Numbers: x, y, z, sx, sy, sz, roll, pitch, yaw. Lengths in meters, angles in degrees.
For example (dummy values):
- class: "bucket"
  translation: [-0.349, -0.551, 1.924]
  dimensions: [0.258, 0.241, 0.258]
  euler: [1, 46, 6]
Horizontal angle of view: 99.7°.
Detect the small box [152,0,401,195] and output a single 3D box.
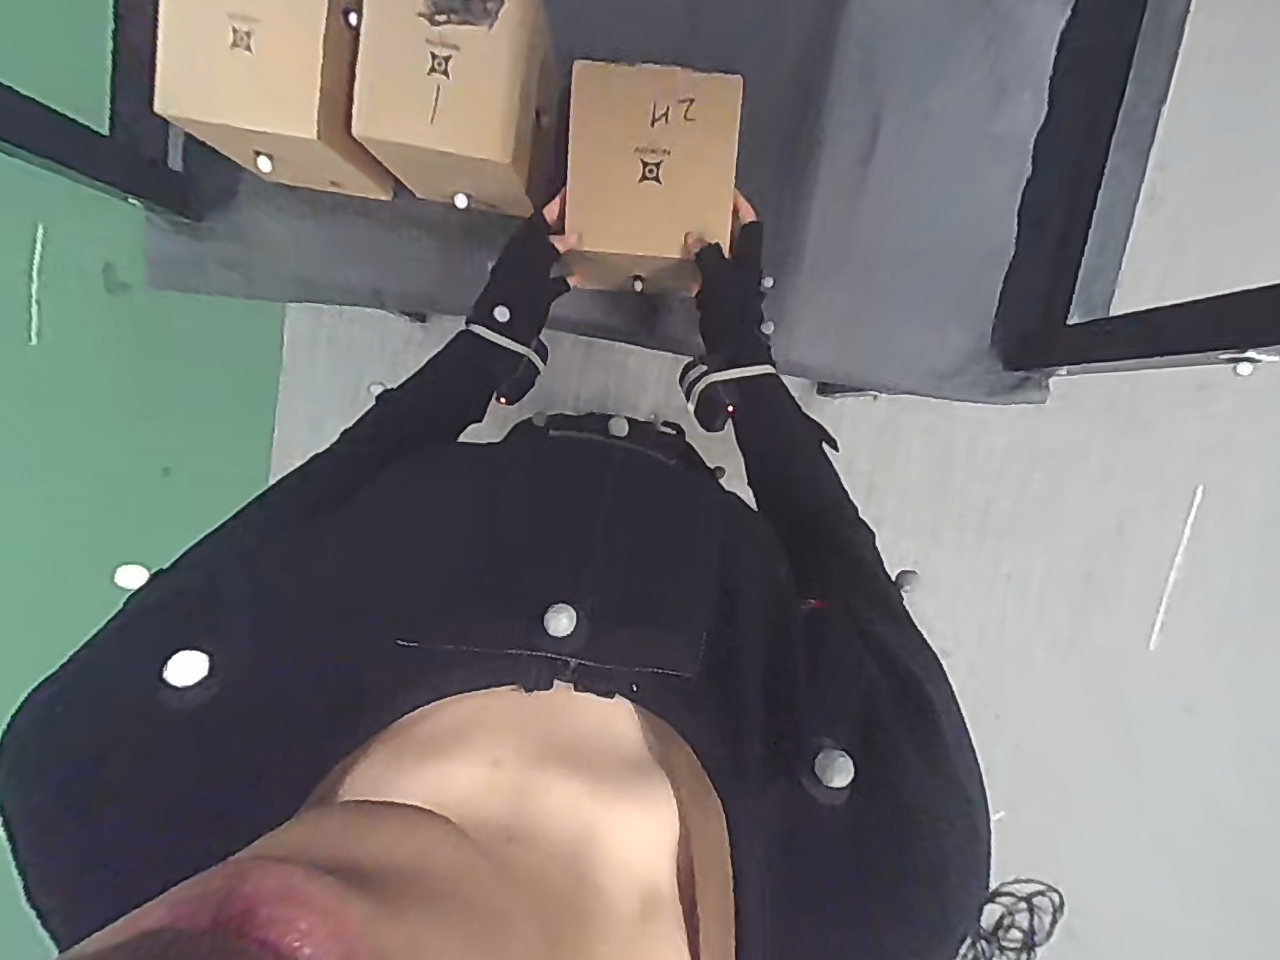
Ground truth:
- class: "small box"
  translation: [-0.388, -0.448, 0.605]
  dimensions: [0.168, 0.176, 0.179]
  euler: [9, 97, -2]
